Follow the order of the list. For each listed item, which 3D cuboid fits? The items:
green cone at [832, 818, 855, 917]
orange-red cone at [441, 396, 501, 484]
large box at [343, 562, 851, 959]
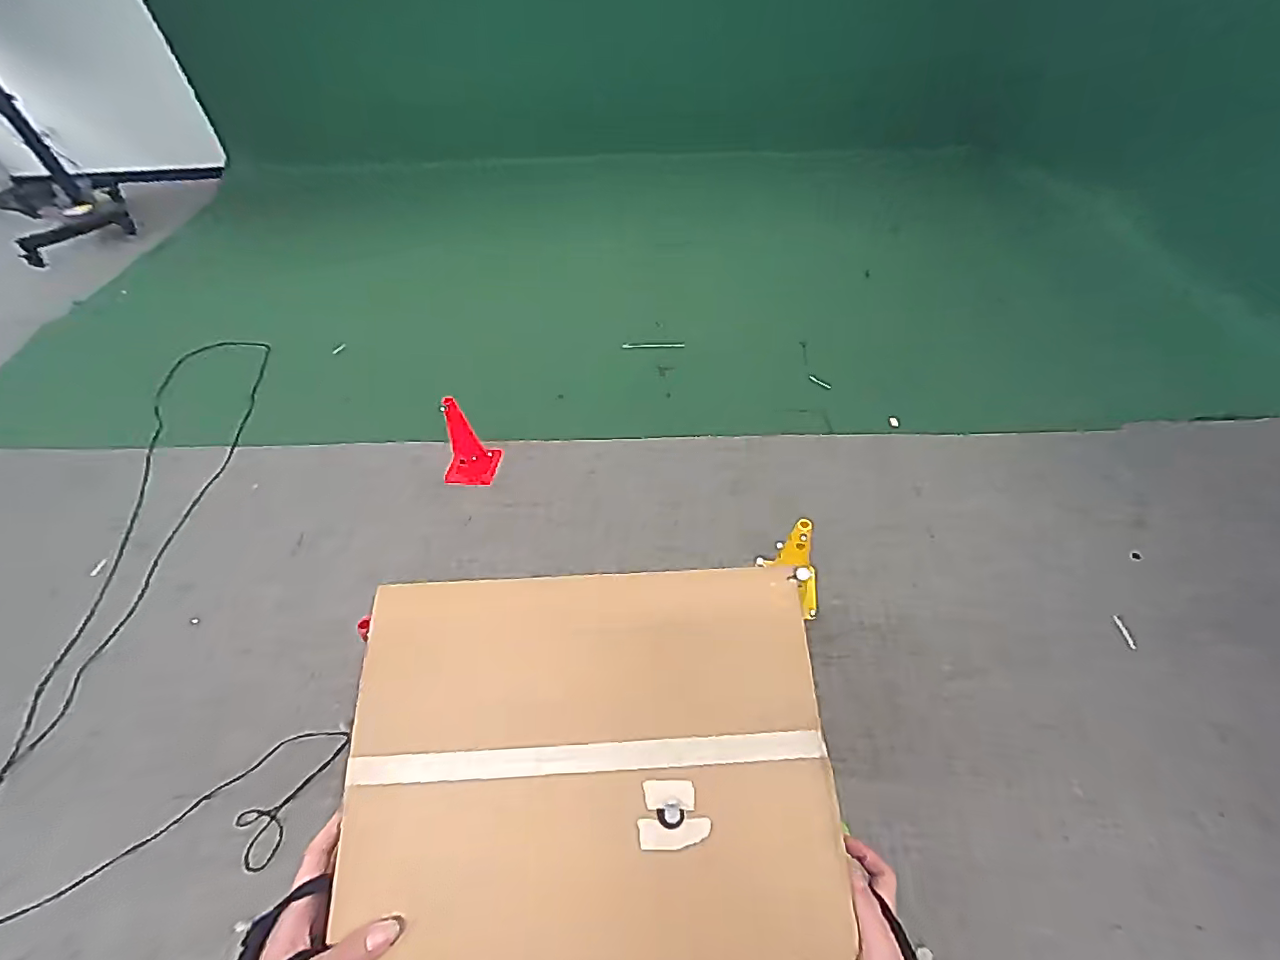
[{"bbox_3d":[0.403,0.810,1.178,0.200,0.368,0.202,4,48,6],"label":"green cone"},{"bbox_3d":[-0.692,-0.172,2.075,0.199,0.360,0.198,4,49,8],"label":"orange-red cone"},{"bbox_3d":[-0.043,0.294,0.611,0.408,0.320,0.320,-3,67,-2],"label":"large box"}]
